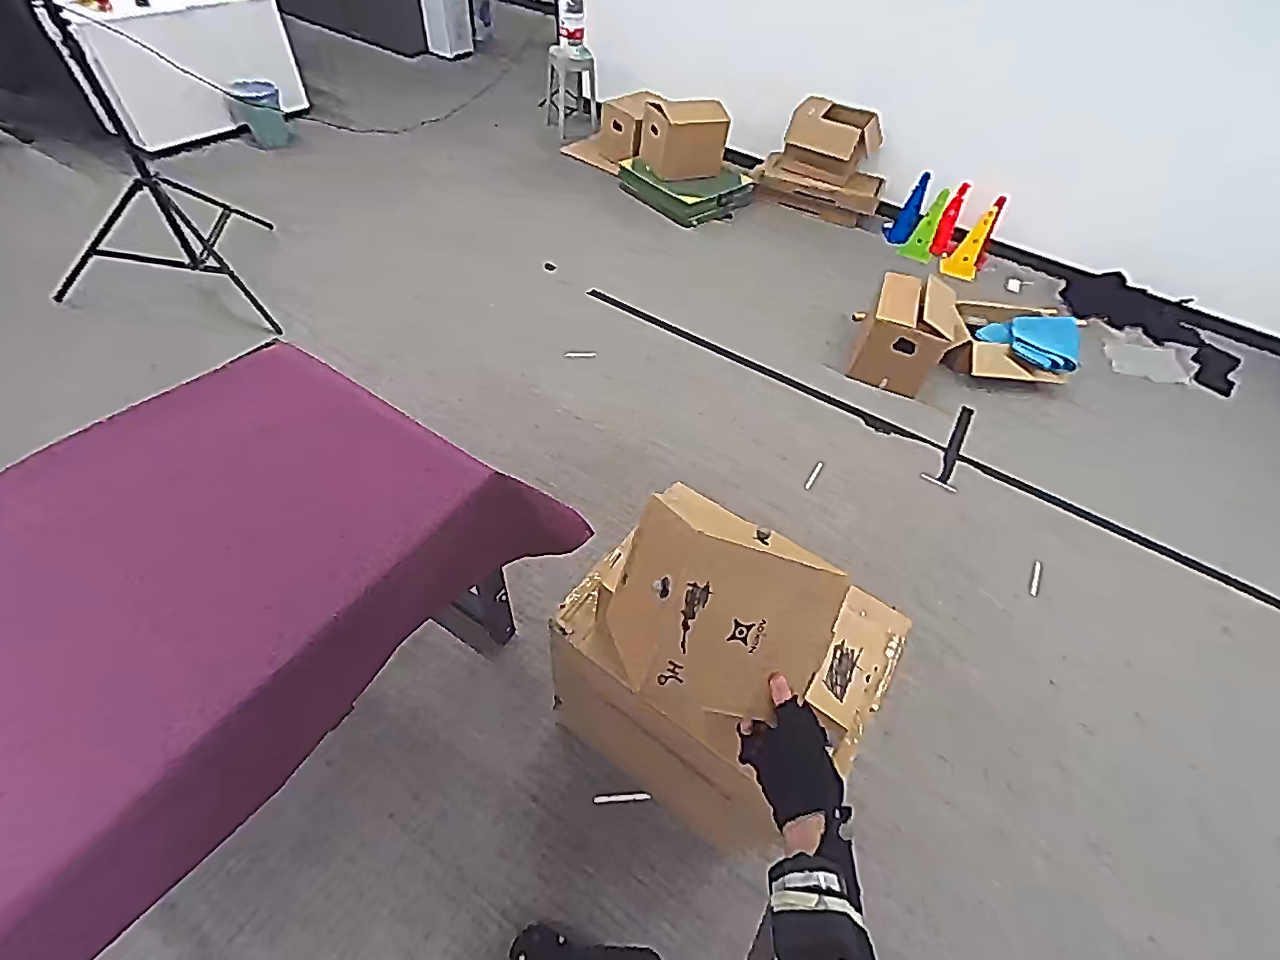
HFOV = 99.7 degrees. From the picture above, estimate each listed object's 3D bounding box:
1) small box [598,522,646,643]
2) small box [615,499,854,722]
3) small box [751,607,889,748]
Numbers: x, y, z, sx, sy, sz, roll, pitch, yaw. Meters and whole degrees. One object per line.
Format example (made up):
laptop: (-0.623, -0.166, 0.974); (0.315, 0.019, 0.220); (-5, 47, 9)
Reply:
small box: (0.045, 0.190, 0.885); (0.179, 0.176, 0.168); (31, 56, 15)
small box: (0.089, 0.131, 0.594); (0.179, 0.168, 0.176); (18, 5, -15)
small box: (0.241, 0.283, 0.833); (0.179, 0.176, 0.168); (31, 55, 20)
